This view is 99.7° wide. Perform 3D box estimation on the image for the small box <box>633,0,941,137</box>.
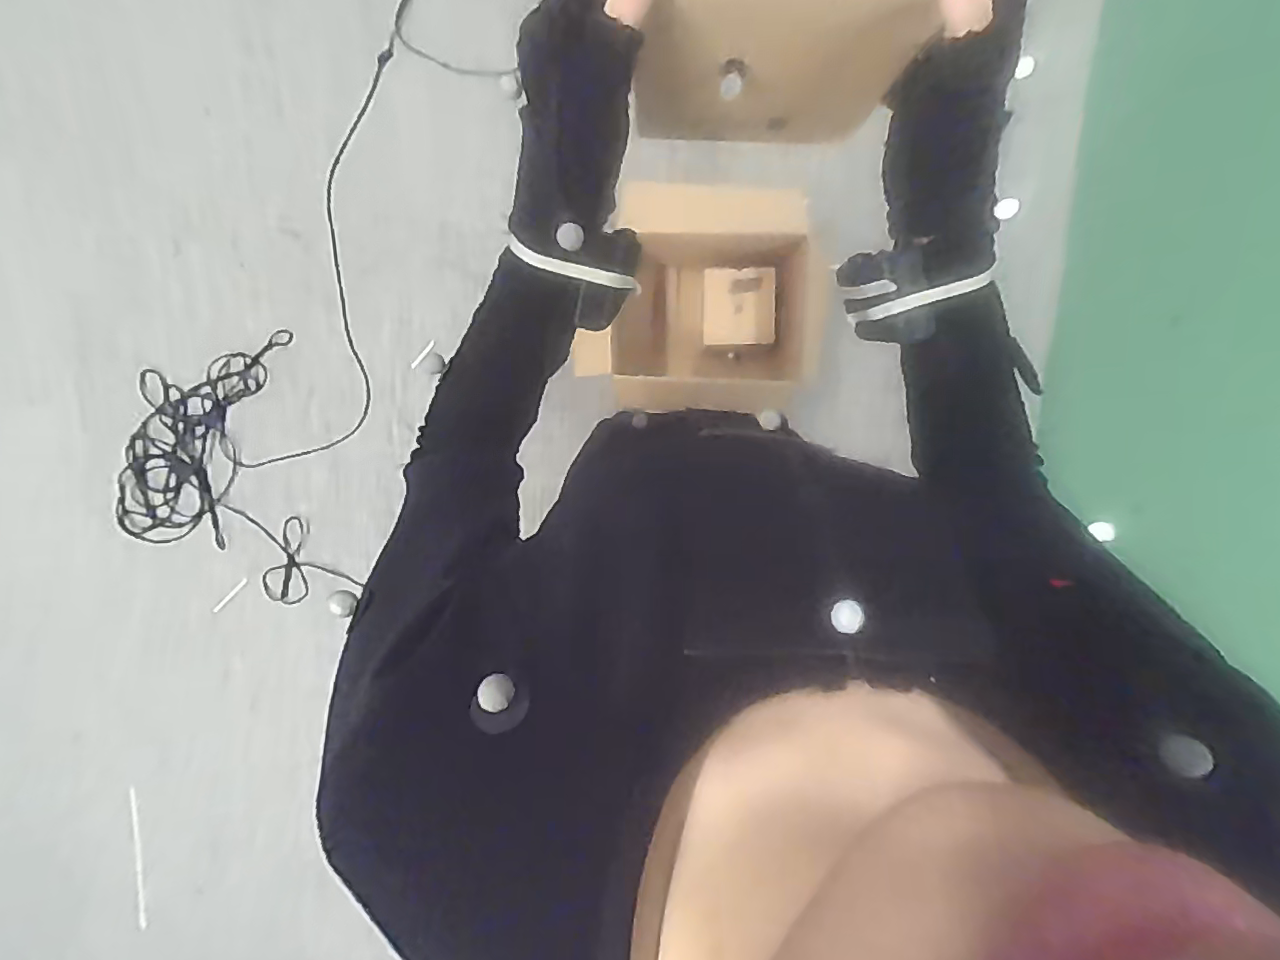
[{"bbox_3d":[0.082,-0.343,0.339,0.168,0.176,0.179,1,99,1],"label":"small box"}]
